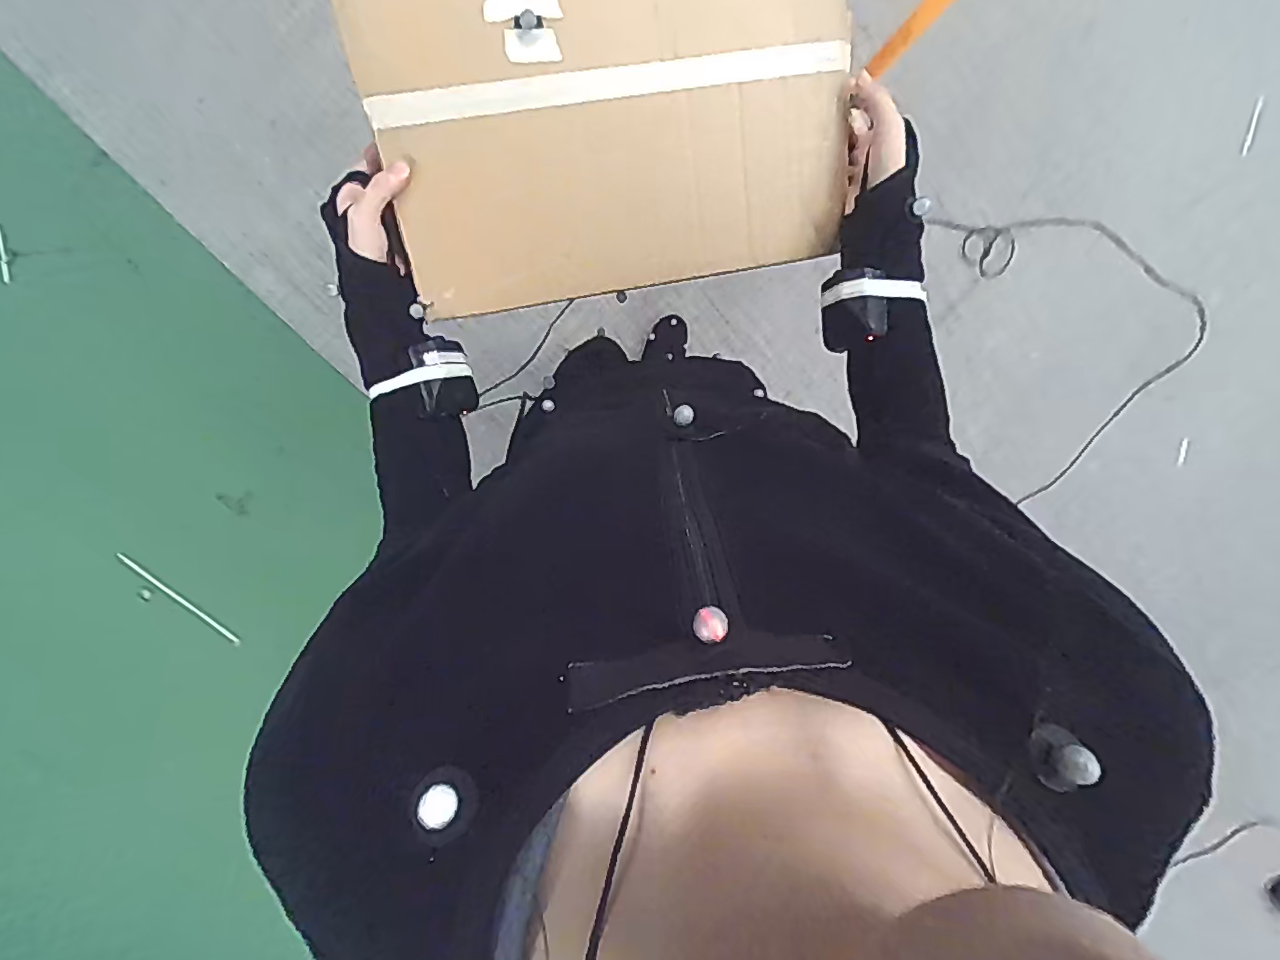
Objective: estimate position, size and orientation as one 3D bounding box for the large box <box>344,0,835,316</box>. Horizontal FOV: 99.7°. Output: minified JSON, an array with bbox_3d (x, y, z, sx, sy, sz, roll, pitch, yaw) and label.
[{"bbox_3d":[-0.046,-0.385,0.598,0.408,0.320,0.320,-12,111,-7],"label":"large box"}]
